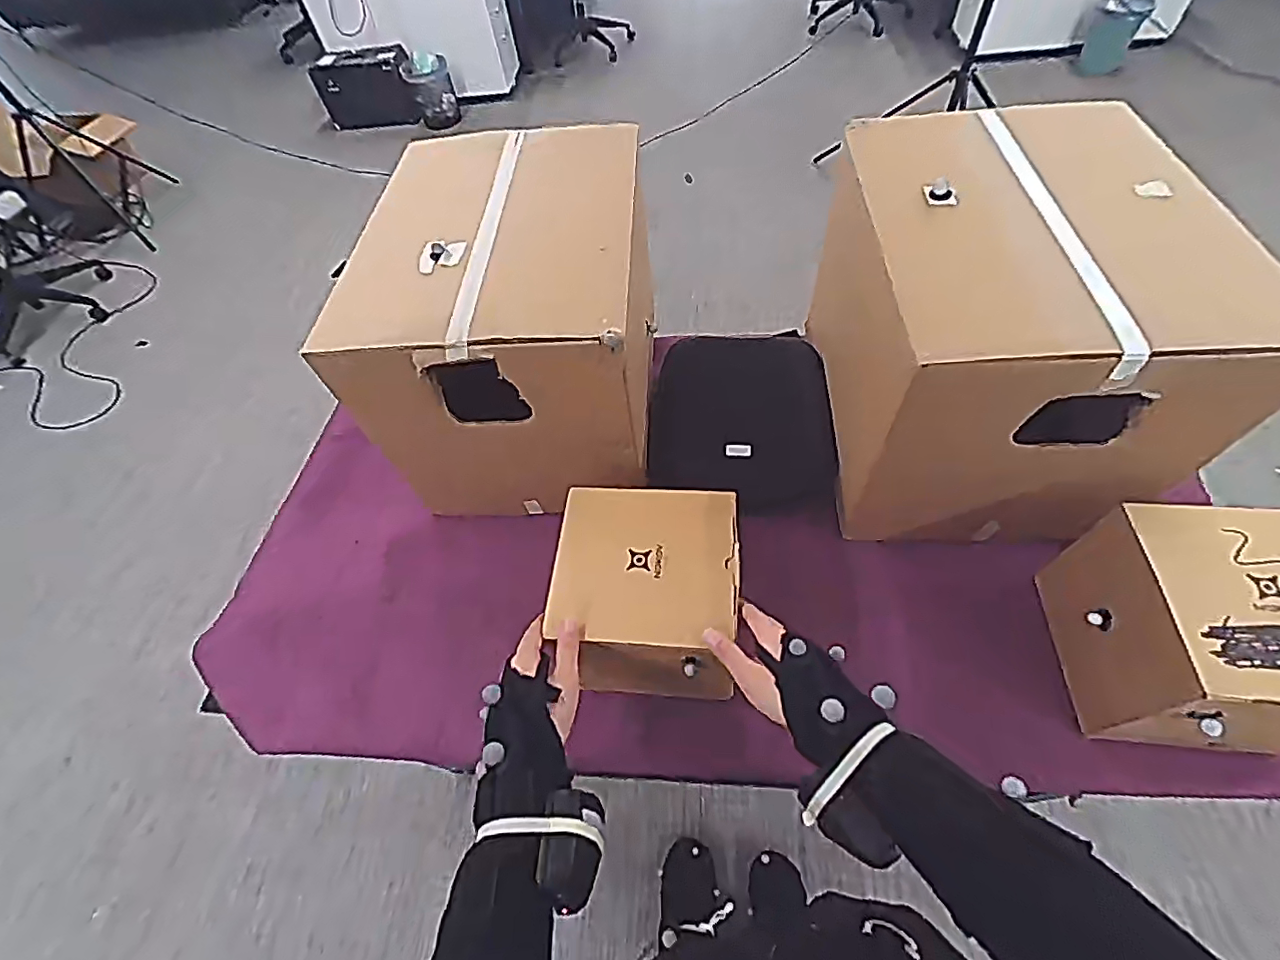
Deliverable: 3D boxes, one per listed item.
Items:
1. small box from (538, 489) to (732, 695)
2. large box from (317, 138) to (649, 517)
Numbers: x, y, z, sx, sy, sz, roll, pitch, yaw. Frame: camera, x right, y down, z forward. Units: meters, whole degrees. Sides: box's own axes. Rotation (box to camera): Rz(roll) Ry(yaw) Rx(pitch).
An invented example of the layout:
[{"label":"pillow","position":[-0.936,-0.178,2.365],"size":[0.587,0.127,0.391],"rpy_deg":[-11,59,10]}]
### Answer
[{"label":"small box","position":[0.008,0.125,0.584],"size":[0.179,0.176,0.168],"rpy_deg":[1,55,7]},{"label":"large box","position":[-0.149,-0.196,0.738],"size":[0.320,0.320,0.408],"rpy_deg":[-2,58,5]}]
